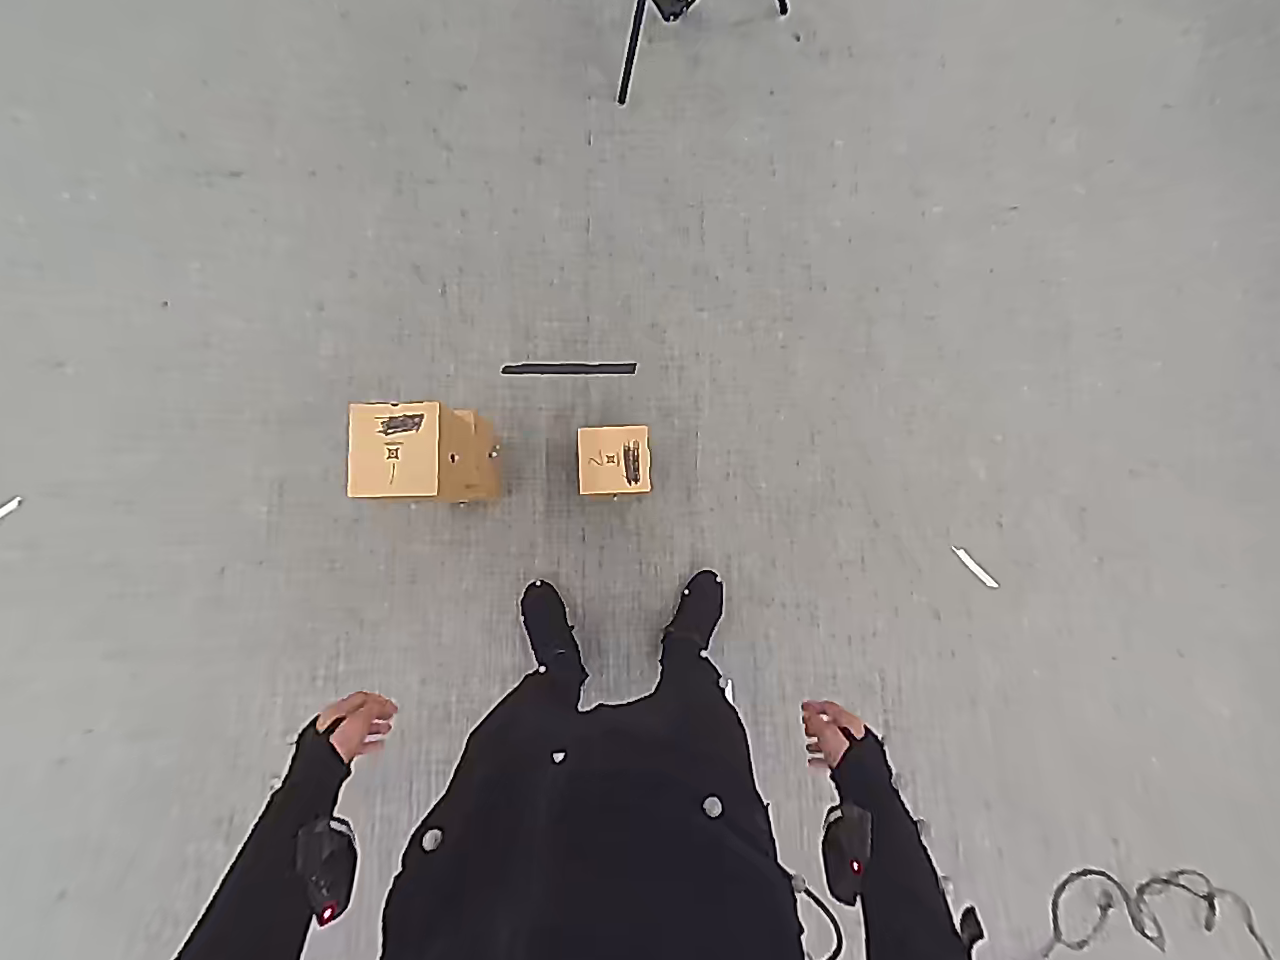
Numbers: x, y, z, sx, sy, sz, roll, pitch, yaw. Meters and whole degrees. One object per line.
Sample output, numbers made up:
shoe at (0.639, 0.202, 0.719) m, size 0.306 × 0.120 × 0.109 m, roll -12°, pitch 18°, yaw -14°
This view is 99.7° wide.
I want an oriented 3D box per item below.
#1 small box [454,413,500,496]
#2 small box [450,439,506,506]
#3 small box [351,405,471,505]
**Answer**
small box at (-0.428, -0.049, 1.227) m, size 0.179 × 0.176 × 0.168 m, roll -4°, pitch 84°, yaw -2°
small box at (-0.446, -0.029, 1.389) m, size 0.168 × 0.176 × 0.179 m, roll -3°, pitch 84°, yaw -2°
small box at (-0.439, -0.042, 1.061) m, size 0.168 × 0.176 × 0.179 m, roll -1°, pitch 85°, yaw 0°
